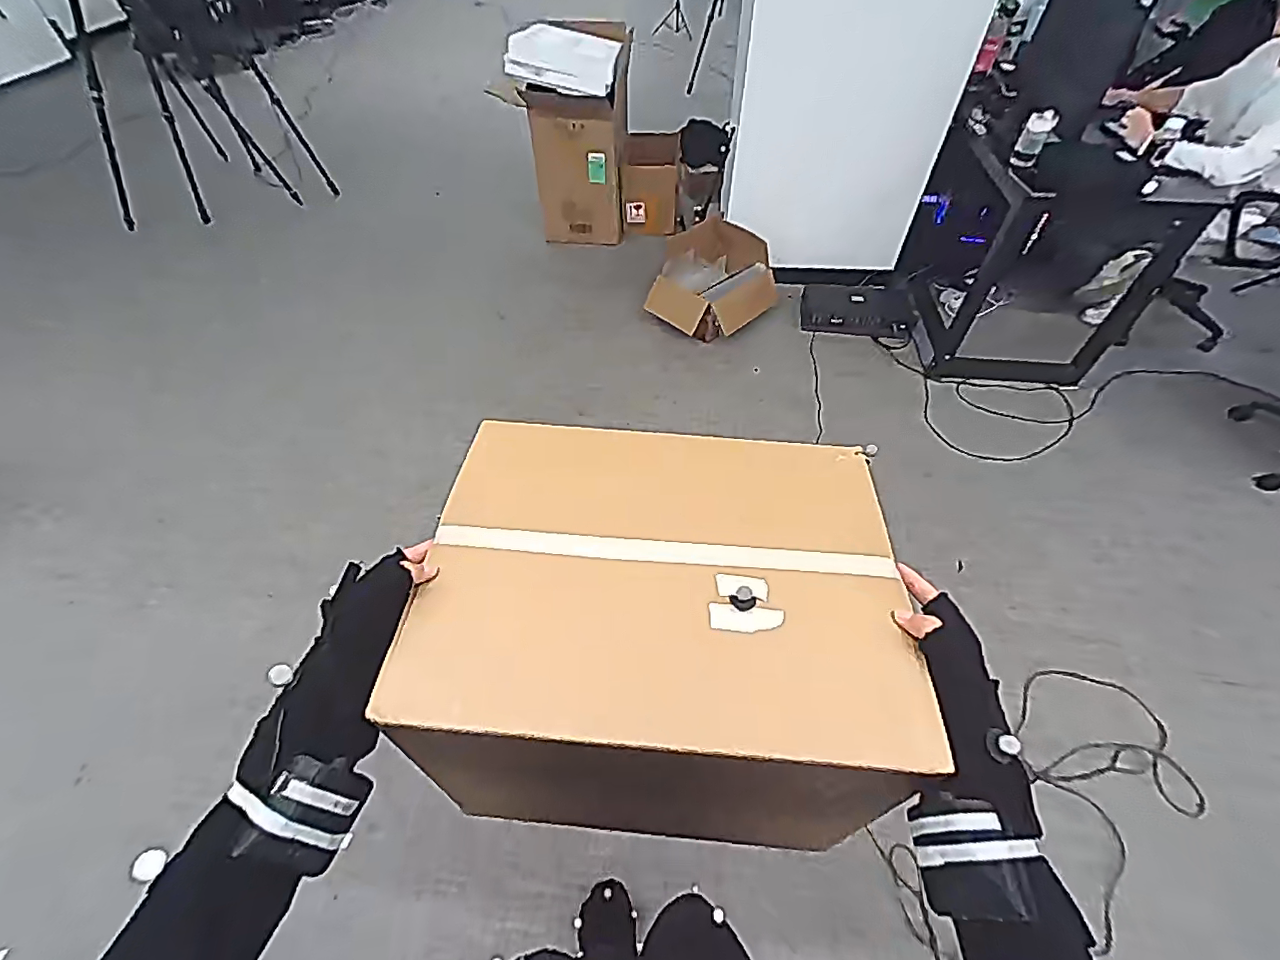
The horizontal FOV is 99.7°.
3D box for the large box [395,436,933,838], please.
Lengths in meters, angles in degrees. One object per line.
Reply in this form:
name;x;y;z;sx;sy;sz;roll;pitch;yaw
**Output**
large box;0.019;0.174;0.600;0.408;0.320;0.320;4;48;2
